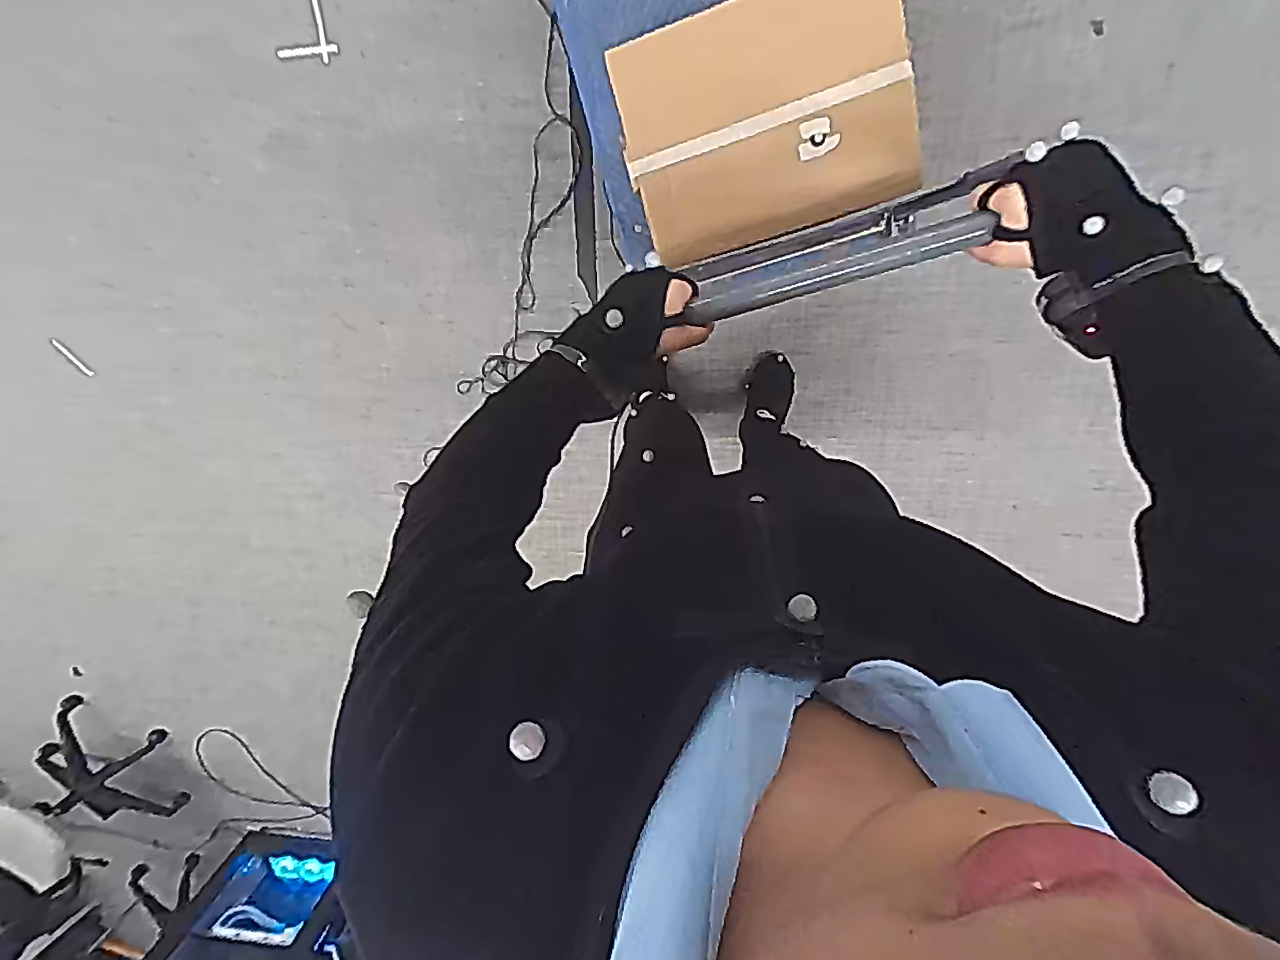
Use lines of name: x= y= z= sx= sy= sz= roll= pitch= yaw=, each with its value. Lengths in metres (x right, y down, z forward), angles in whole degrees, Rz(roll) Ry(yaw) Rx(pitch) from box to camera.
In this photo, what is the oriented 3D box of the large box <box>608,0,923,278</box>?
large box: x=0.197 y=-0.559 z=0.918 sx=0.408 sy=0.320 sz=0.320 roll=-13 pitch=109 yaw=11
